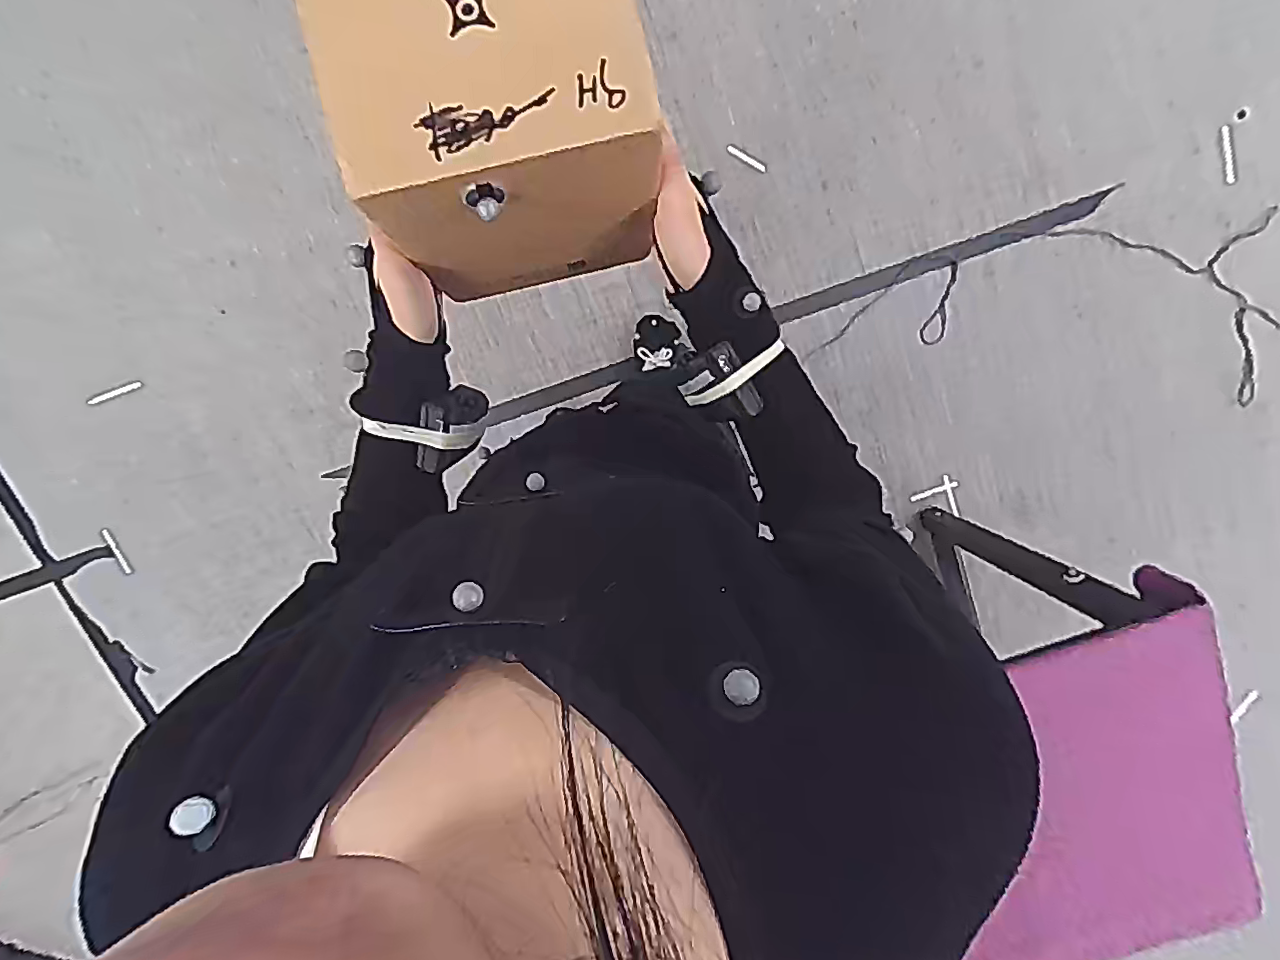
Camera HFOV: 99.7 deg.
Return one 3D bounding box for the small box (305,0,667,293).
[{"bbox_3d":[-0.086,-0.247,0.348,0.168,0.176,0.179,-14,91,-1],"label":"small box"}]
